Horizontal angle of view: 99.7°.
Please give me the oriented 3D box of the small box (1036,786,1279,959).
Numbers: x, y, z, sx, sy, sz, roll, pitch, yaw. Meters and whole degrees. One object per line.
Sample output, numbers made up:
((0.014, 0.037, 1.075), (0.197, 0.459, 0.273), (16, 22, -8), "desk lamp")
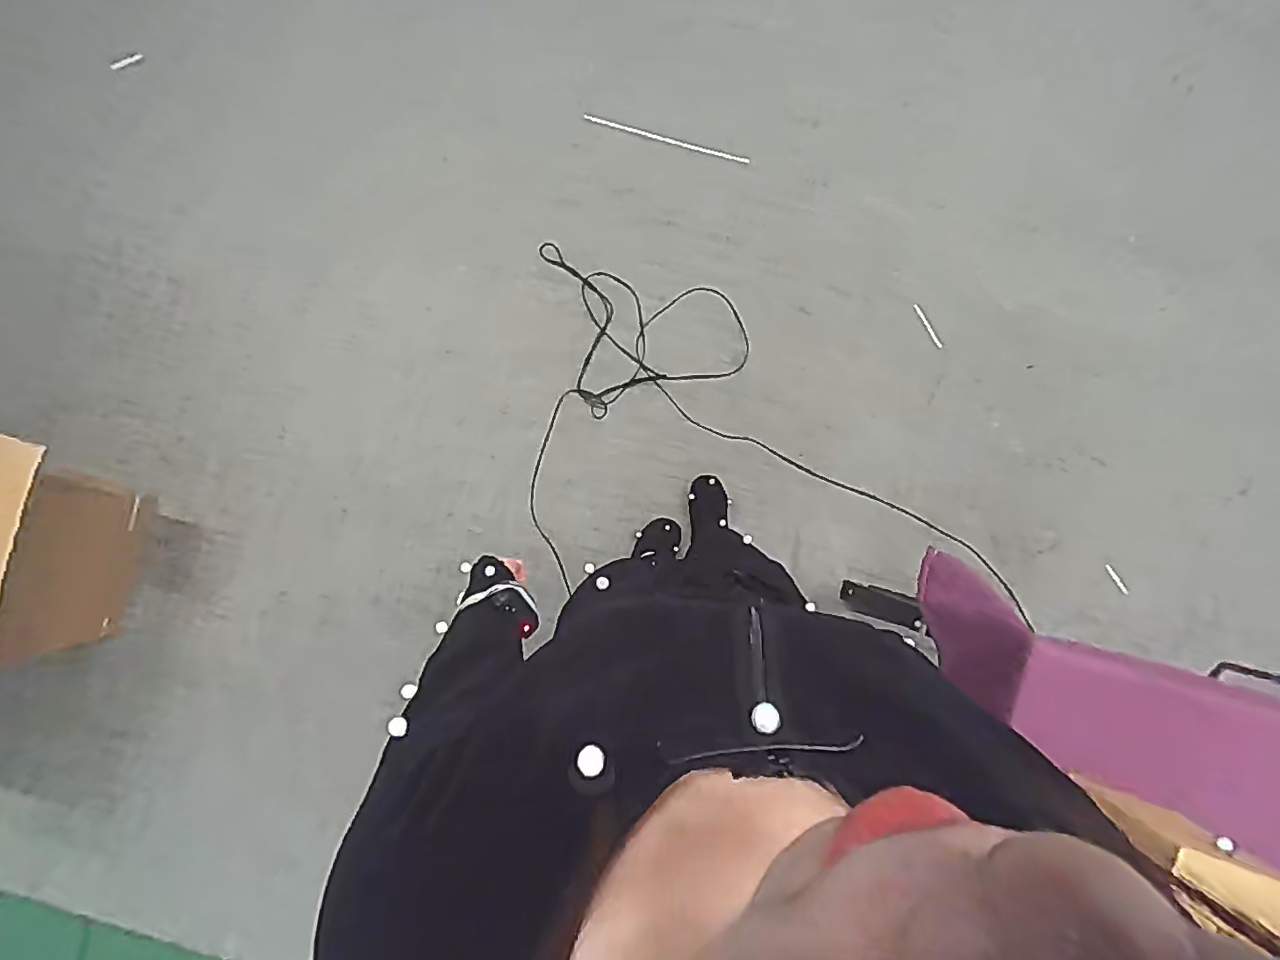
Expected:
((0.657, 0.524, 0.683), (0.179, 0.176, 0.168), (21, 88, 0), "small box")
